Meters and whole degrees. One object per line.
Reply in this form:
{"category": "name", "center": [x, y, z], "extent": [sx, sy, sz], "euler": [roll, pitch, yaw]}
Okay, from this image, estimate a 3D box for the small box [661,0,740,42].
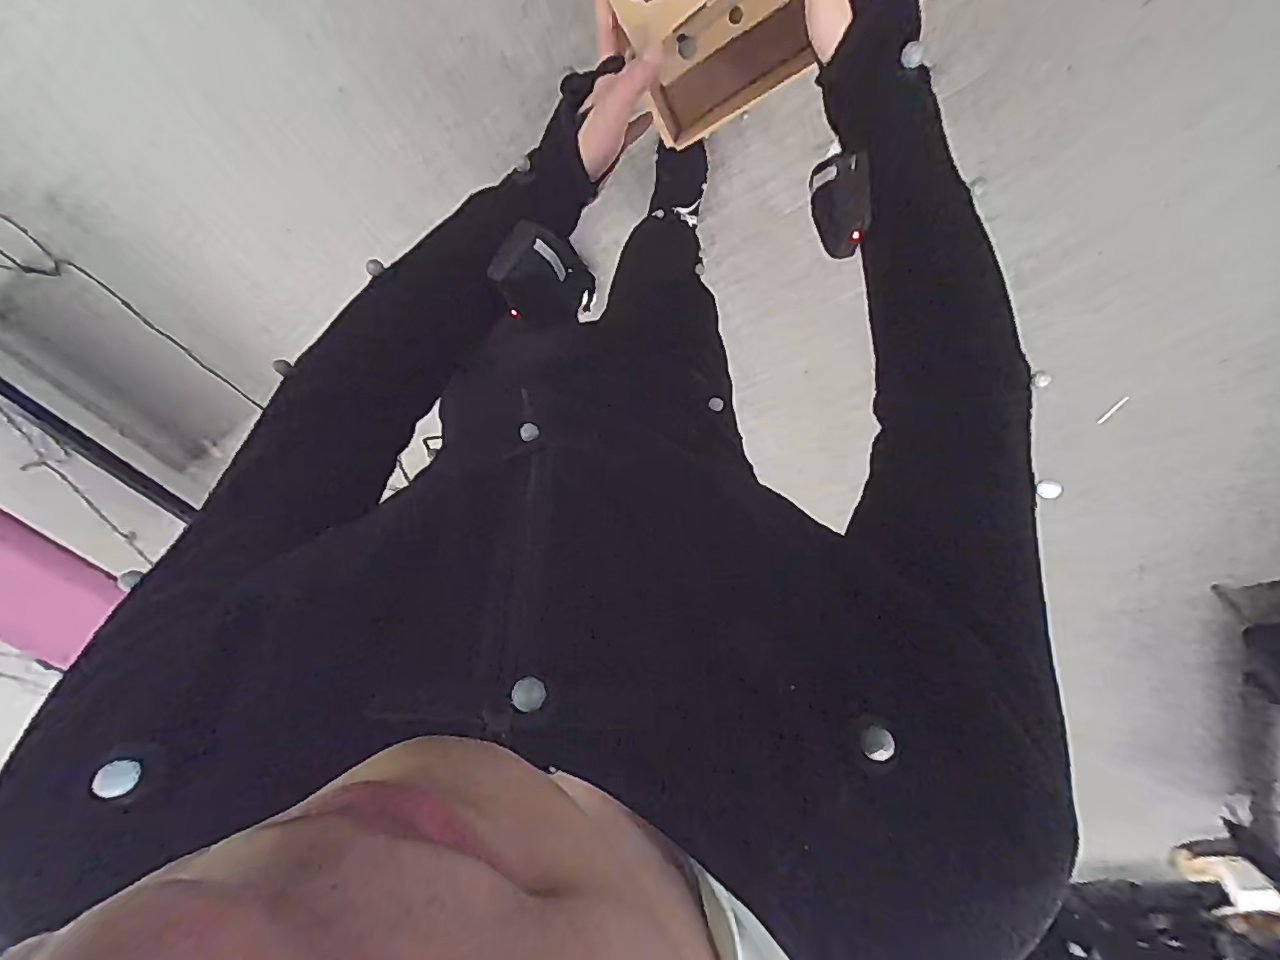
{"category": "small box", "center": [0.074, -0.578, 0.527], "extent": [0.168, 0.176, 0.179], "euler": [-22, 123, 24]}
